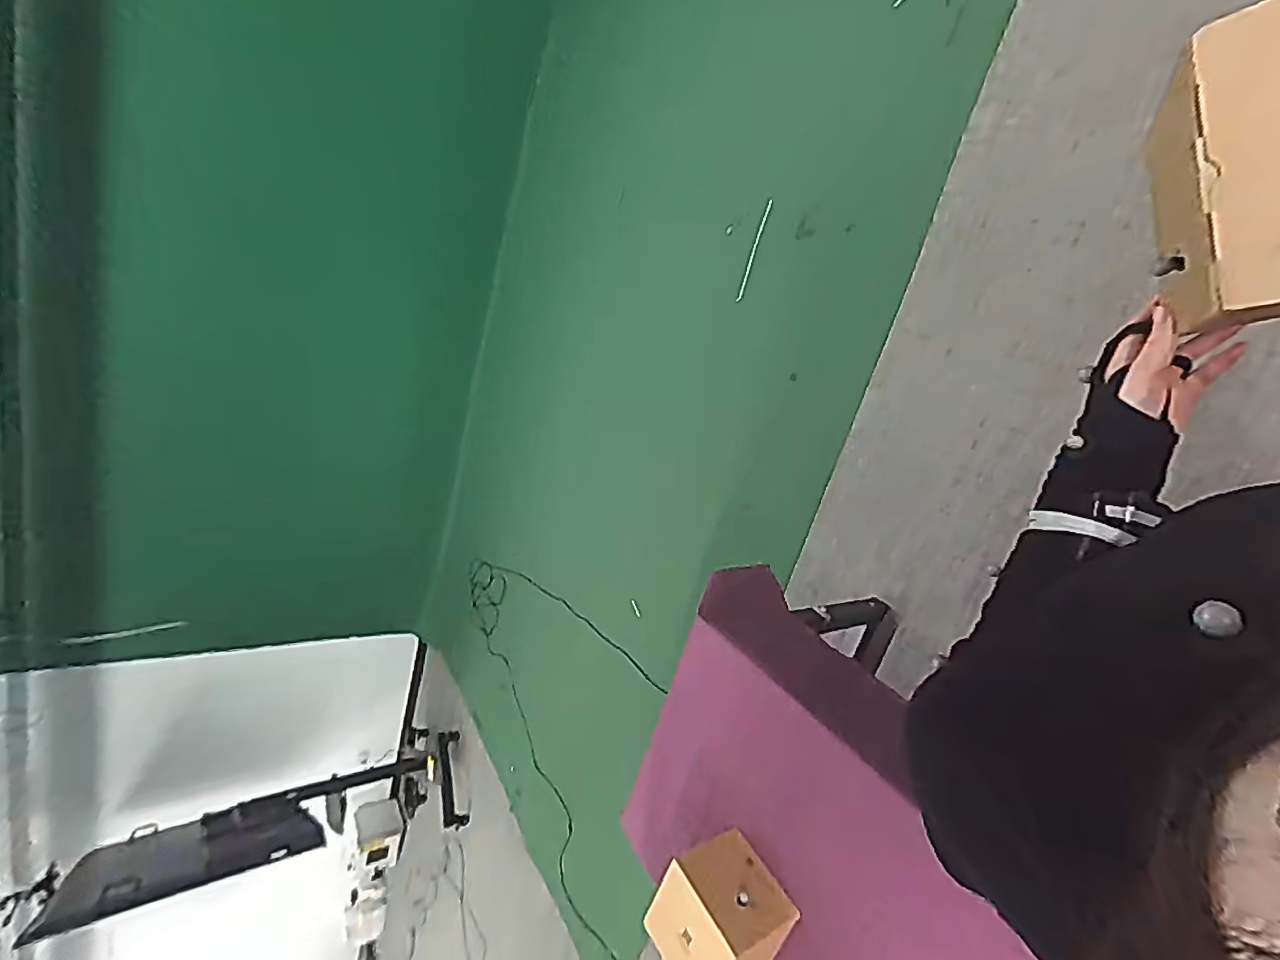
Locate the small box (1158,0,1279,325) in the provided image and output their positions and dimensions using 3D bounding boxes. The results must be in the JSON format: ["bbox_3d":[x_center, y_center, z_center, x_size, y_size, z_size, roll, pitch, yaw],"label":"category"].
[{"bbox_3d":[0.450,-0.202,0.334,0.179,0.176,0.168,-5,94,37],"label":"small box"}]

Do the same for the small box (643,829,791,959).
[{"bbox_3d":[0.139,0.768,0.958,0.168,0.176,0.179,39,117,47],"label":"small box"}]
